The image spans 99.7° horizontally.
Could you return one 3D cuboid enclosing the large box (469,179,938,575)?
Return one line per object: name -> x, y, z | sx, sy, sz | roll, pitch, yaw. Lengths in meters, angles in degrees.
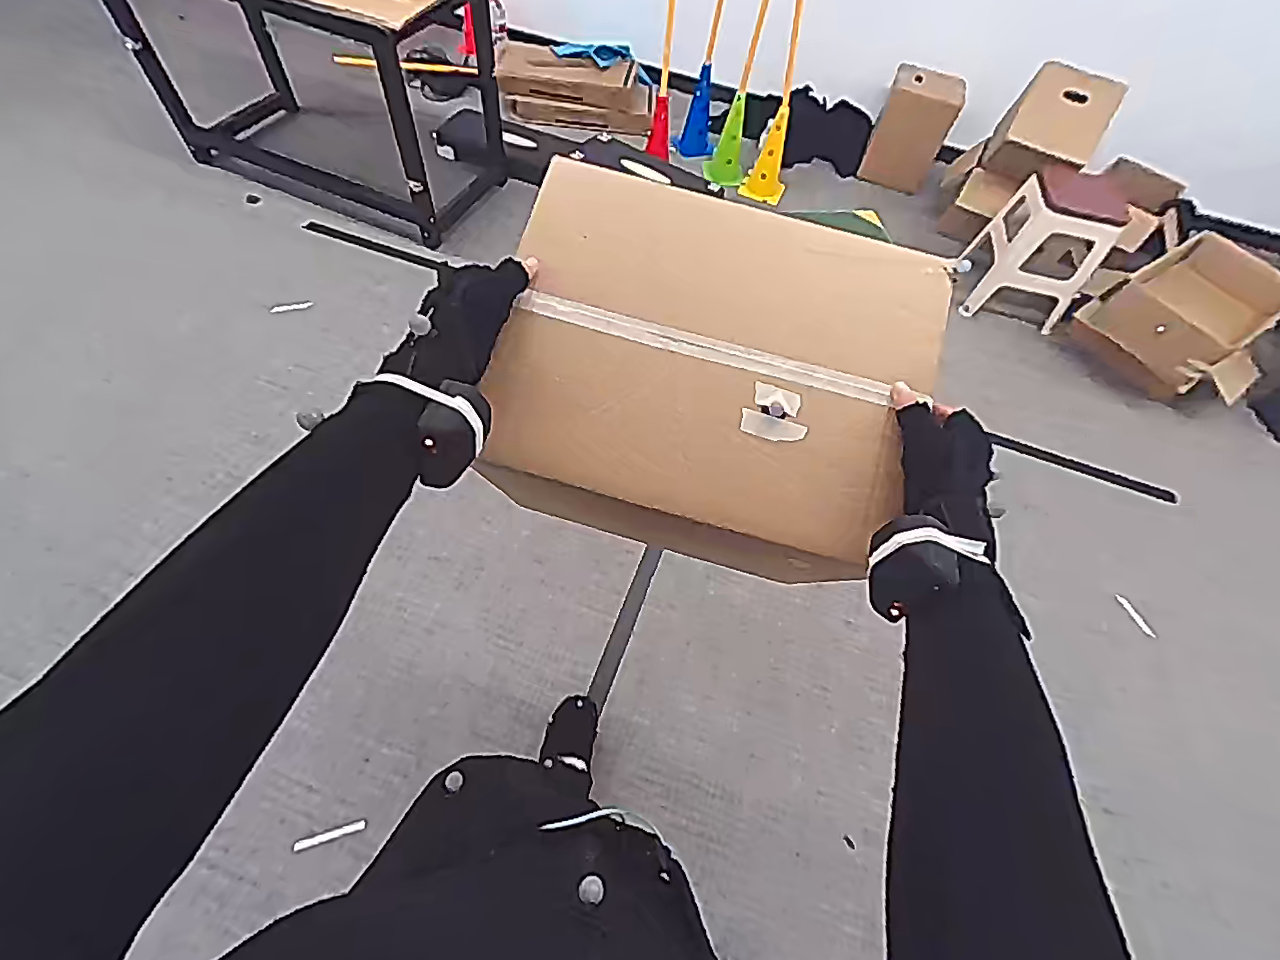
large box -> 0.066, -0.087, 0.663 | 0.408, 0.320, 0.320 | 16, 79, 2
